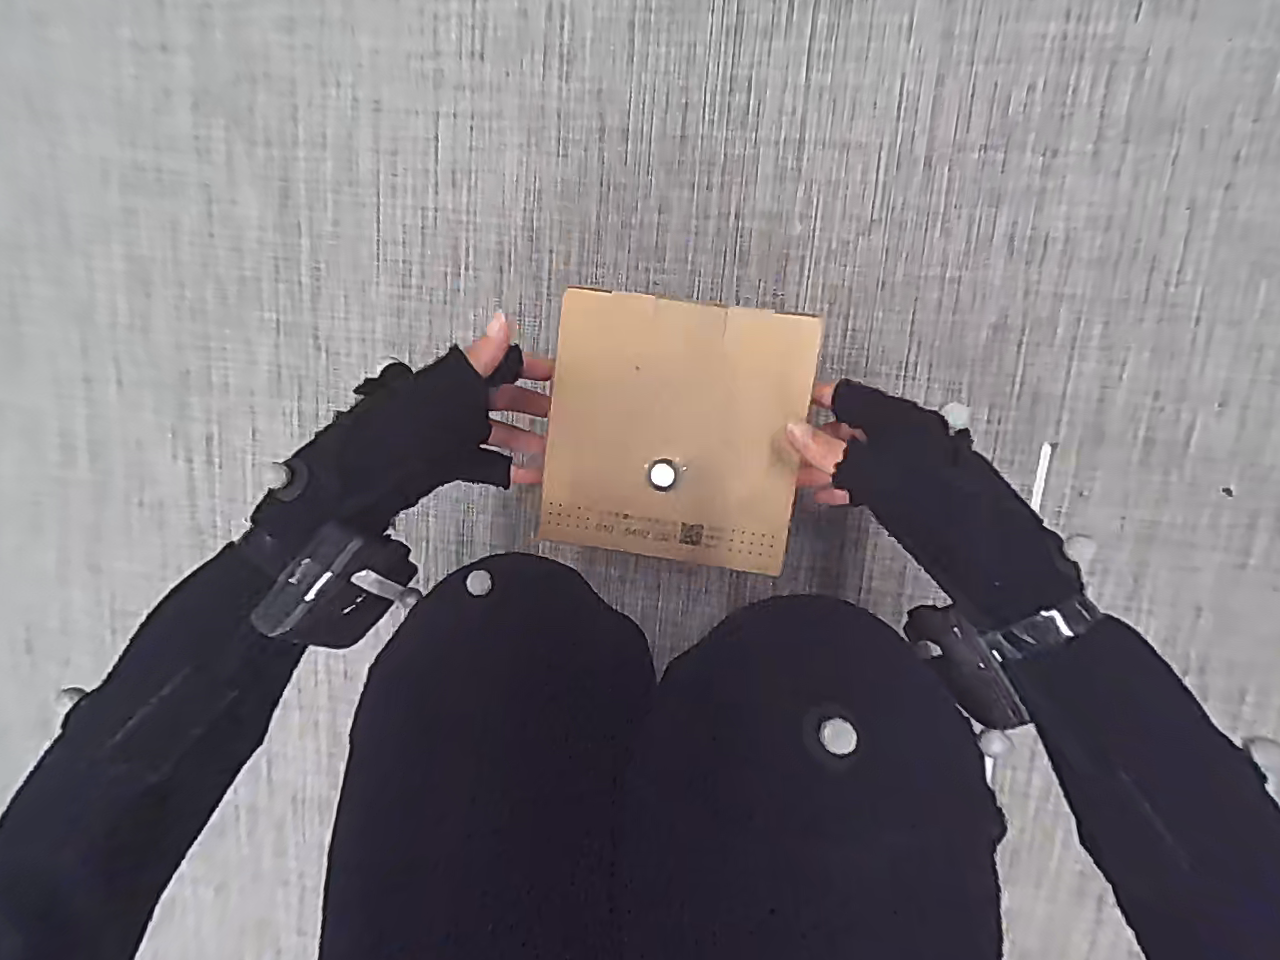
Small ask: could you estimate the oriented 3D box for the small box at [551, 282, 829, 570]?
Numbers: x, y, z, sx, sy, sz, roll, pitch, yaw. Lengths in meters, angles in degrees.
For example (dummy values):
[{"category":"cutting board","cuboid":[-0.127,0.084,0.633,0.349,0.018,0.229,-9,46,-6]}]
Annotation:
[{"category":"small box","cuboid":[0.032,-0.044,0.424,0.168,0.179,0.176,7,101,4]}]
